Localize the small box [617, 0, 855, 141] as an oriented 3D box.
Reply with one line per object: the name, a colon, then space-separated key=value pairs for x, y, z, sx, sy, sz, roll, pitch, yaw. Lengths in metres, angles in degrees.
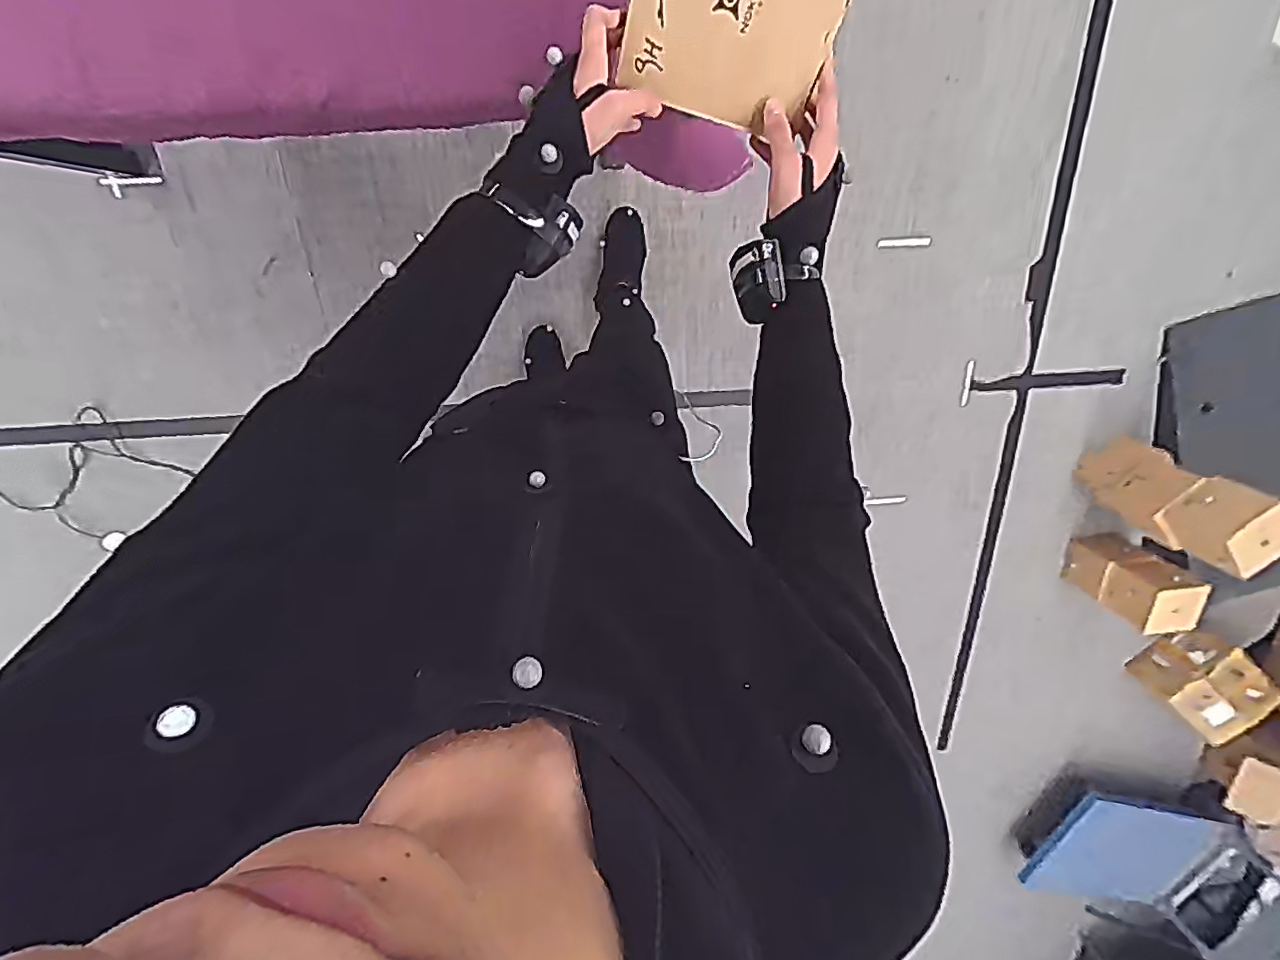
small box: x=0.082 y=-0.443 z=0.496 sx=0.179 sy=0.176 sz=0.168 roll=11 pitch=129 yaw=-12
